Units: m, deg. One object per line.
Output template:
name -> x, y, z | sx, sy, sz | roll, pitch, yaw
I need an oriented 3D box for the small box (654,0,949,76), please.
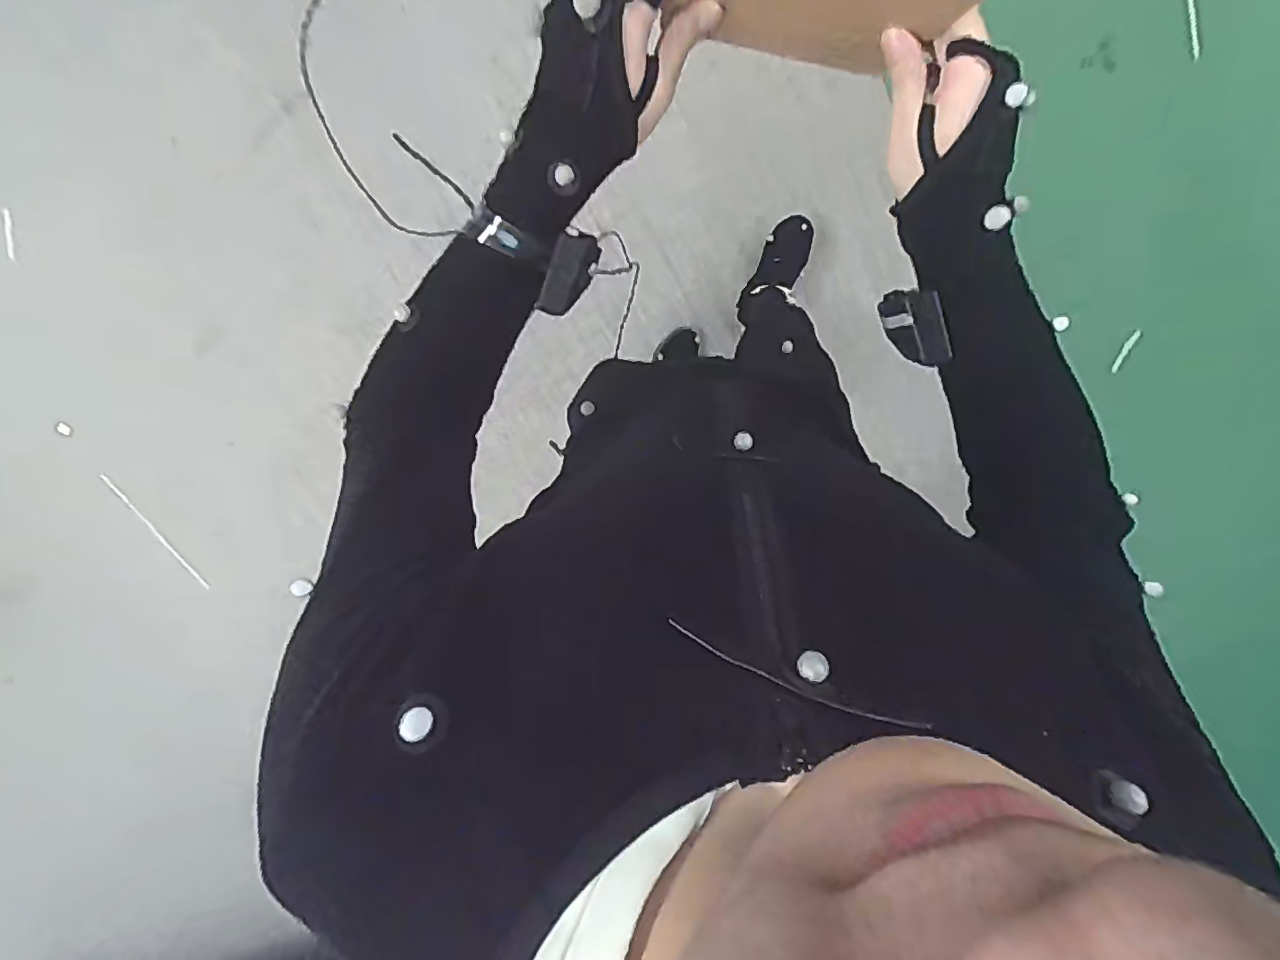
small box -> 0.111, -0.364, 0.301 | 0.179, 0.176, 0.168 | 2, 104, -12
